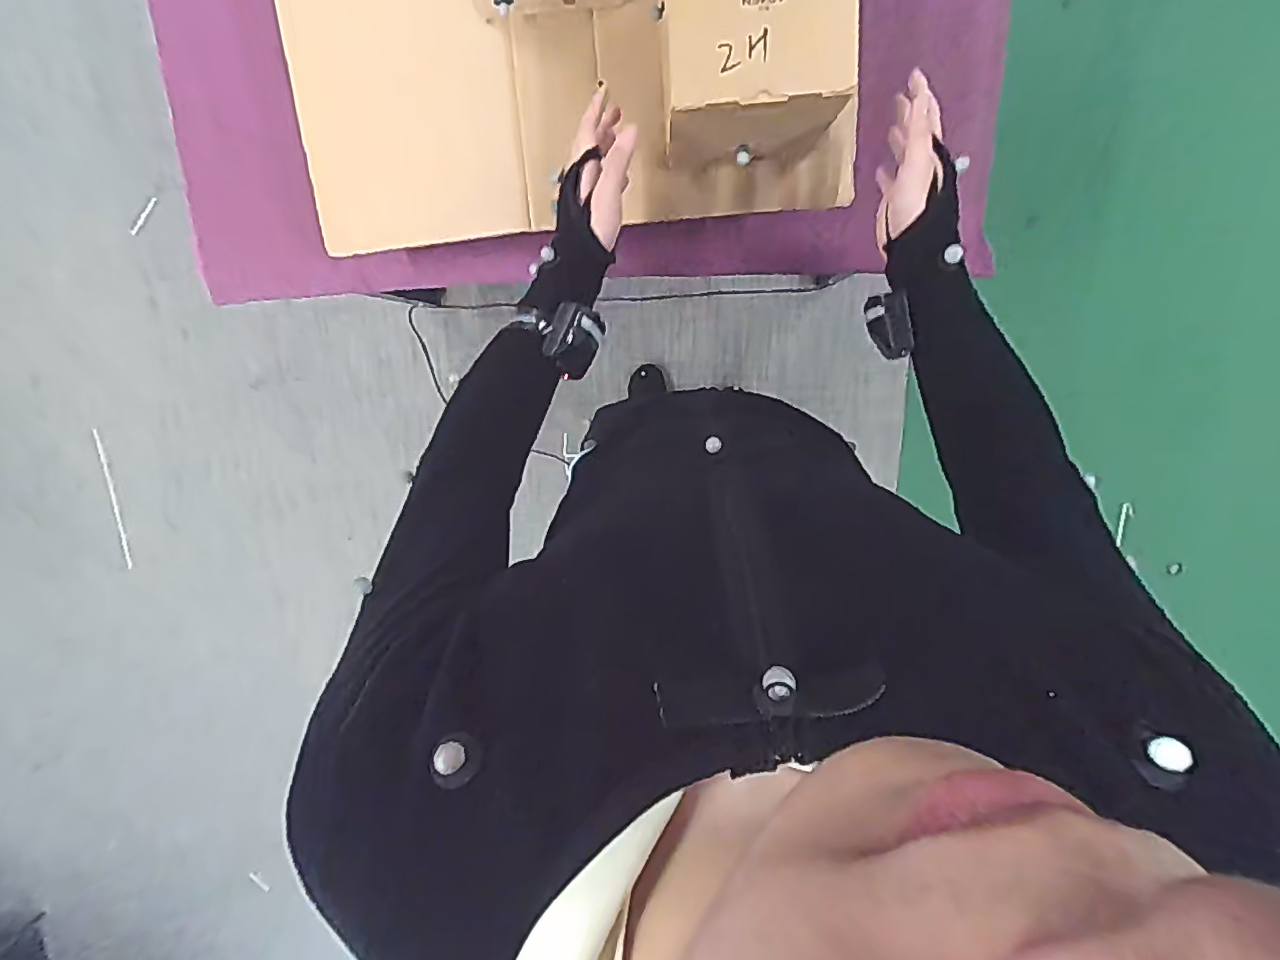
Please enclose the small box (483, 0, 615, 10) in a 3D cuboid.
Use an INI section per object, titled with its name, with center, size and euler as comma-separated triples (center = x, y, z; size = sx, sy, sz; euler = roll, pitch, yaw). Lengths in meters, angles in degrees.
[small box]
center = -0.105, -0.587, 0.508
size = 0.168, 0.176, 0.179
euler = -4, 102, 1
